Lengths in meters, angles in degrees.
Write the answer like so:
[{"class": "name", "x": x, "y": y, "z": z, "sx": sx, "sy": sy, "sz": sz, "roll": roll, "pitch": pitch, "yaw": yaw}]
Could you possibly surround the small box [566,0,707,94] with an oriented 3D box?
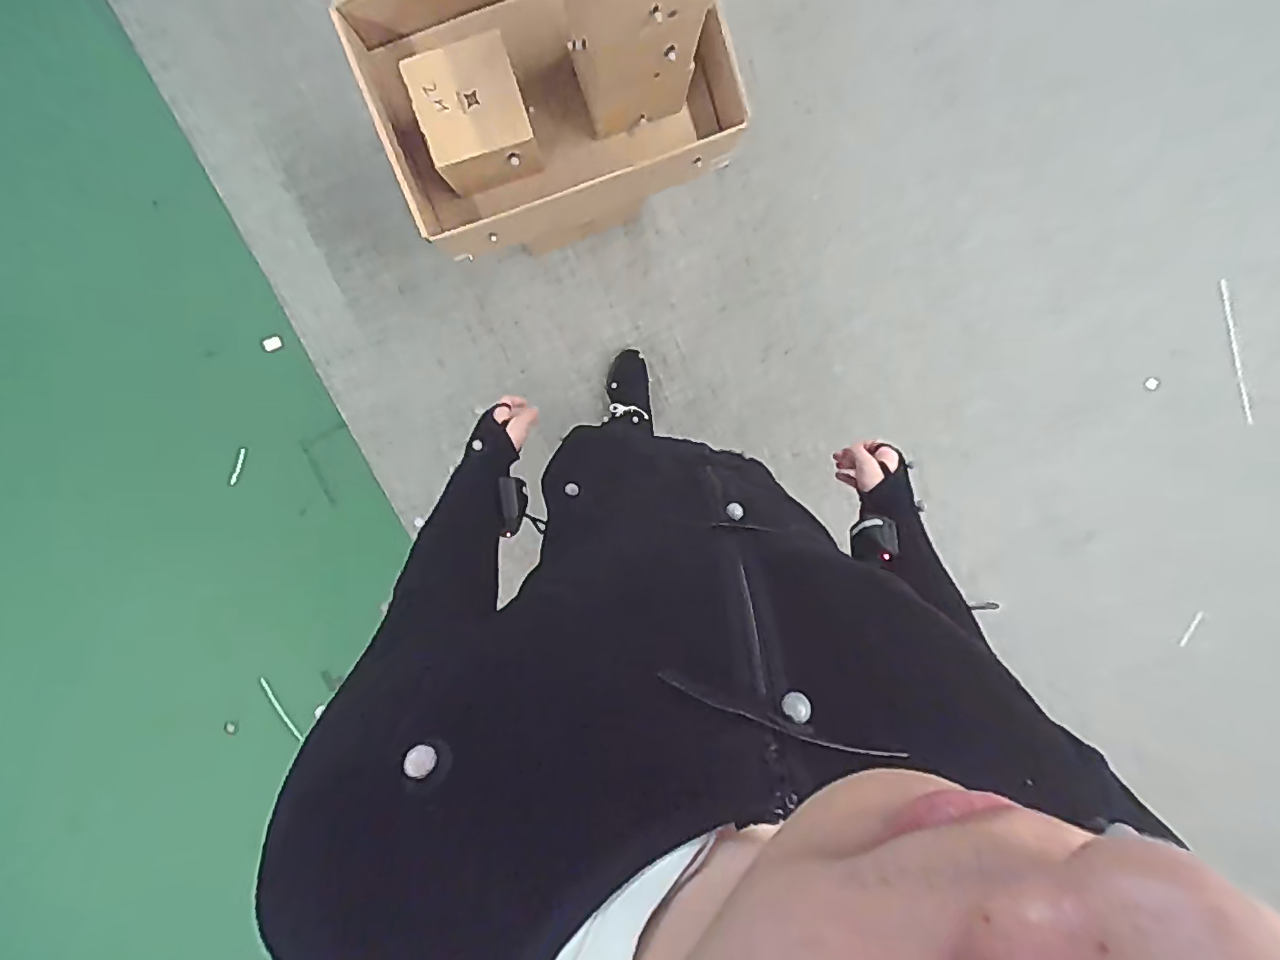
[{"class": "small box", "x": -0.014, "y": -0.708, "z": 0.794, "sx": 0.168, "sy": 0.176, "sz": 0.179, "roll": -19, "pitch": 102, "yaw": 0}]
